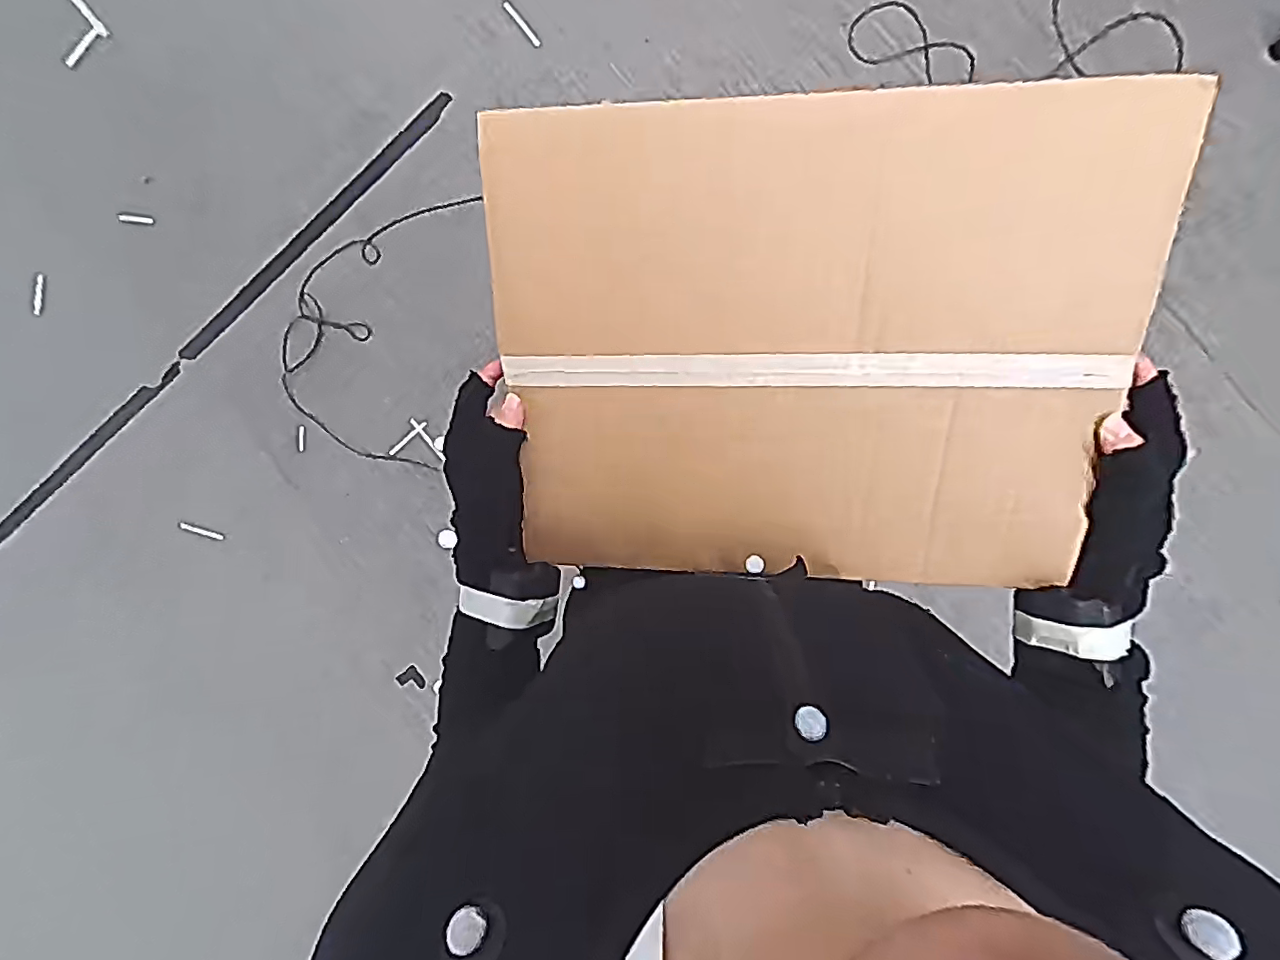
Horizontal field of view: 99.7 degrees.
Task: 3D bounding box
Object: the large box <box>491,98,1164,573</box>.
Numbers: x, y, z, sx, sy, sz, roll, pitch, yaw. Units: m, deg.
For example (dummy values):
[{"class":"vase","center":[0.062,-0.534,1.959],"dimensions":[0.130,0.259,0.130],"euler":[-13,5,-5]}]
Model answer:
[{"class":"large box","center":[0.118,-0.126,0.516],"dimensions":[0.408,0.320,0.320],"euler":[1,112,6]}]
